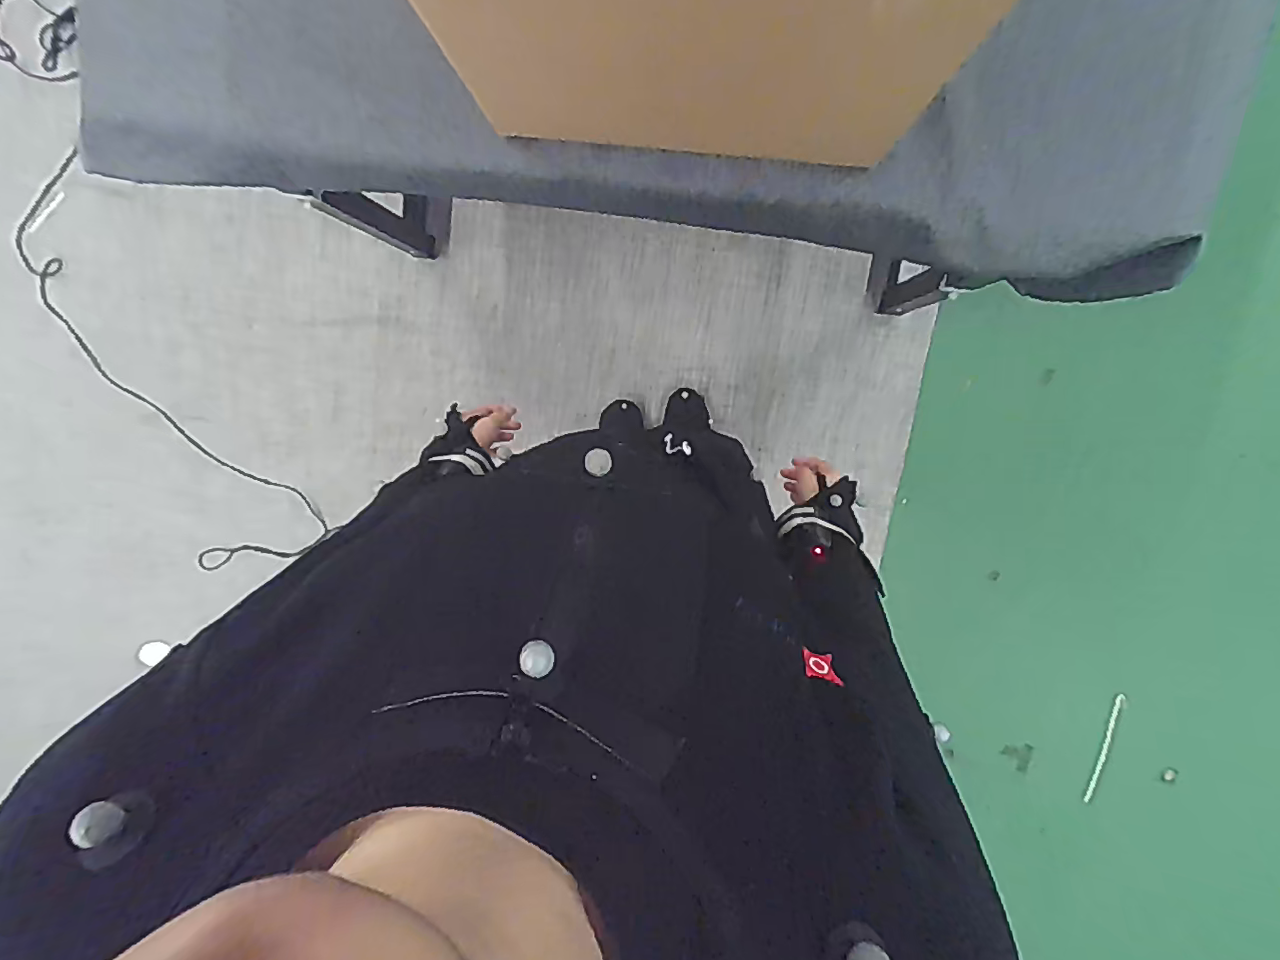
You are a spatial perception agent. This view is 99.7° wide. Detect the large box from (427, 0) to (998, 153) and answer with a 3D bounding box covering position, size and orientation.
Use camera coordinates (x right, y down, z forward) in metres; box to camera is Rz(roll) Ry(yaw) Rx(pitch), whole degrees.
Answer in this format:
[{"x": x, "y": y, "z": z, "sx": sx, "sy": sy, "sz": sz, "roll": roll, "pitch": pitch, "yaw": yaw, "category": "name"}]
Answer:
[{"x": 0.052, "y": -0.484, "z": 0.403, "sx": 0.408, "sy": 0.320, "sz": 0.320, "roll": 6, "pitch": 100, "yaw": 2, "category": "large box"}]
